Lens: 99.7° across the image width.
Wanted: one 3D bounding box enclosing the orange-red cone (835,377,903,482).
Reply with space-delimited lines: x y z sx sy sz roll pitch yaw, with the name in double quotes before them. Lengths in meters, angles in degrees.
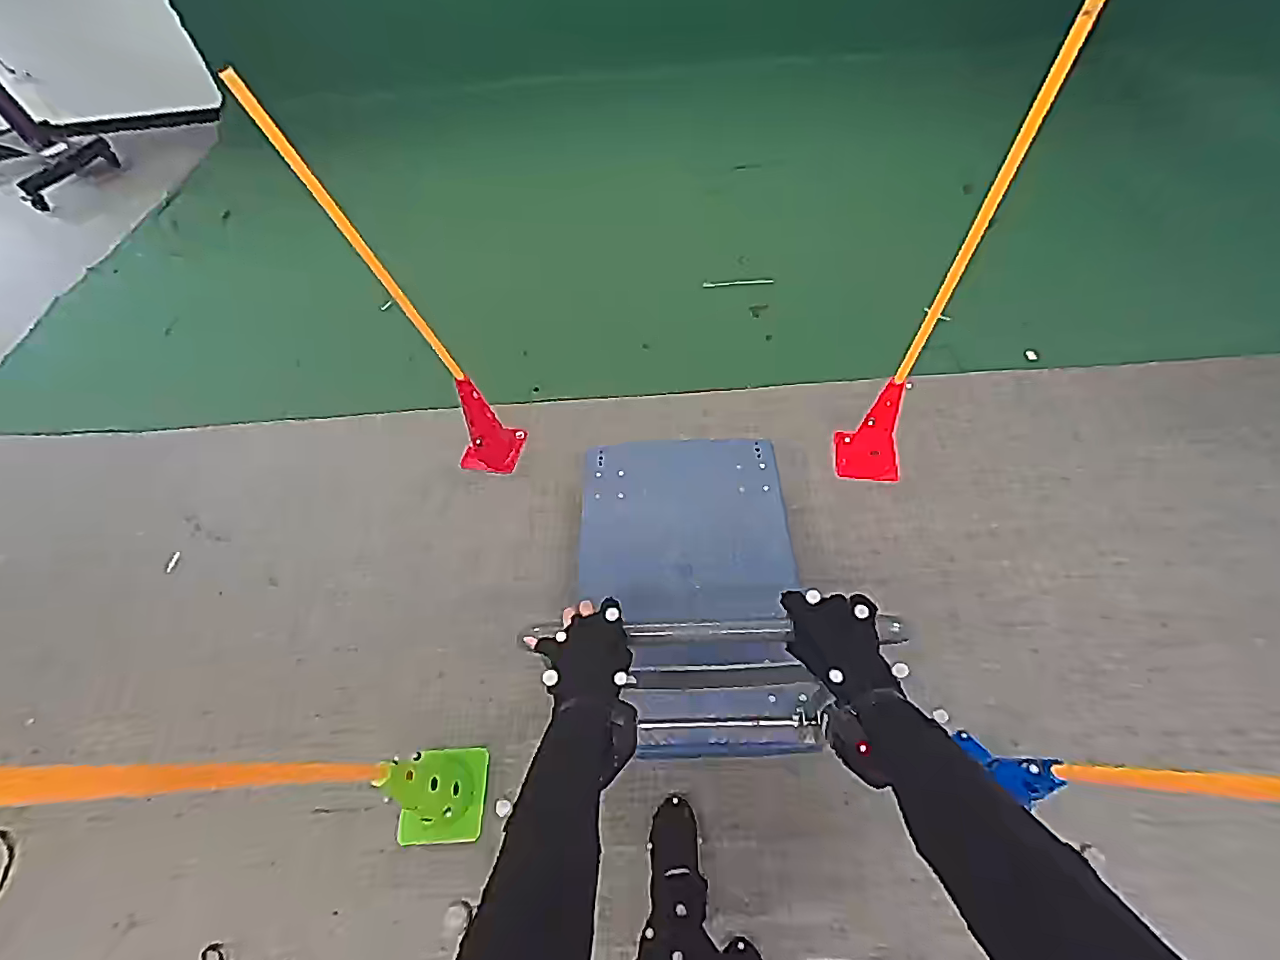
"orange-red cone" 0.745 -0.177 1.679 0.198 0.360 0.199 5 56 10
